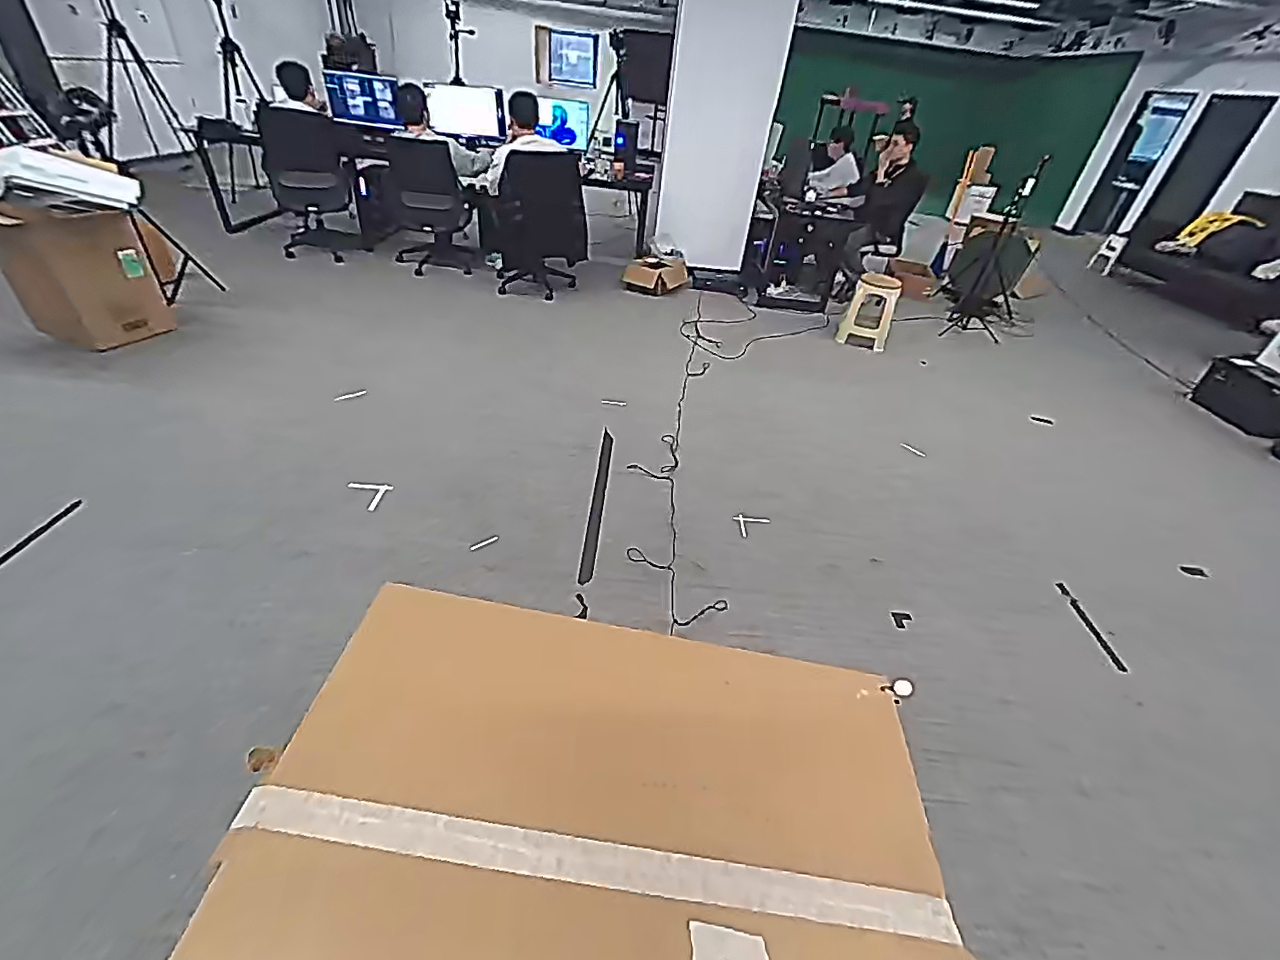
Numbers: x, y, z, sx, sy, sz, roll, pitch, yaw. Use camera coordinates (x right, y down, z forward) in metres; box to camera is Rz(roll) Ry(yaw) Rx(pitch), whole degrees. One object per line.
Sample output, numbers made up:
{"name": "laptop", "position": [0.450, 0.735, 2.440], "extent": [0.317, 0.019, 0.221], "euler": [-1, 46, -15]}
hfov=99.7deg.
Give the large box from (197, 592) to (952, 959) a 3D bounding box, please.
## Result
{"name": "large box", "position": [-0.041, 0.332, 0.417], "extent": [0.408, 0.320, 0.320], "euler": [12, 42, -3]}
